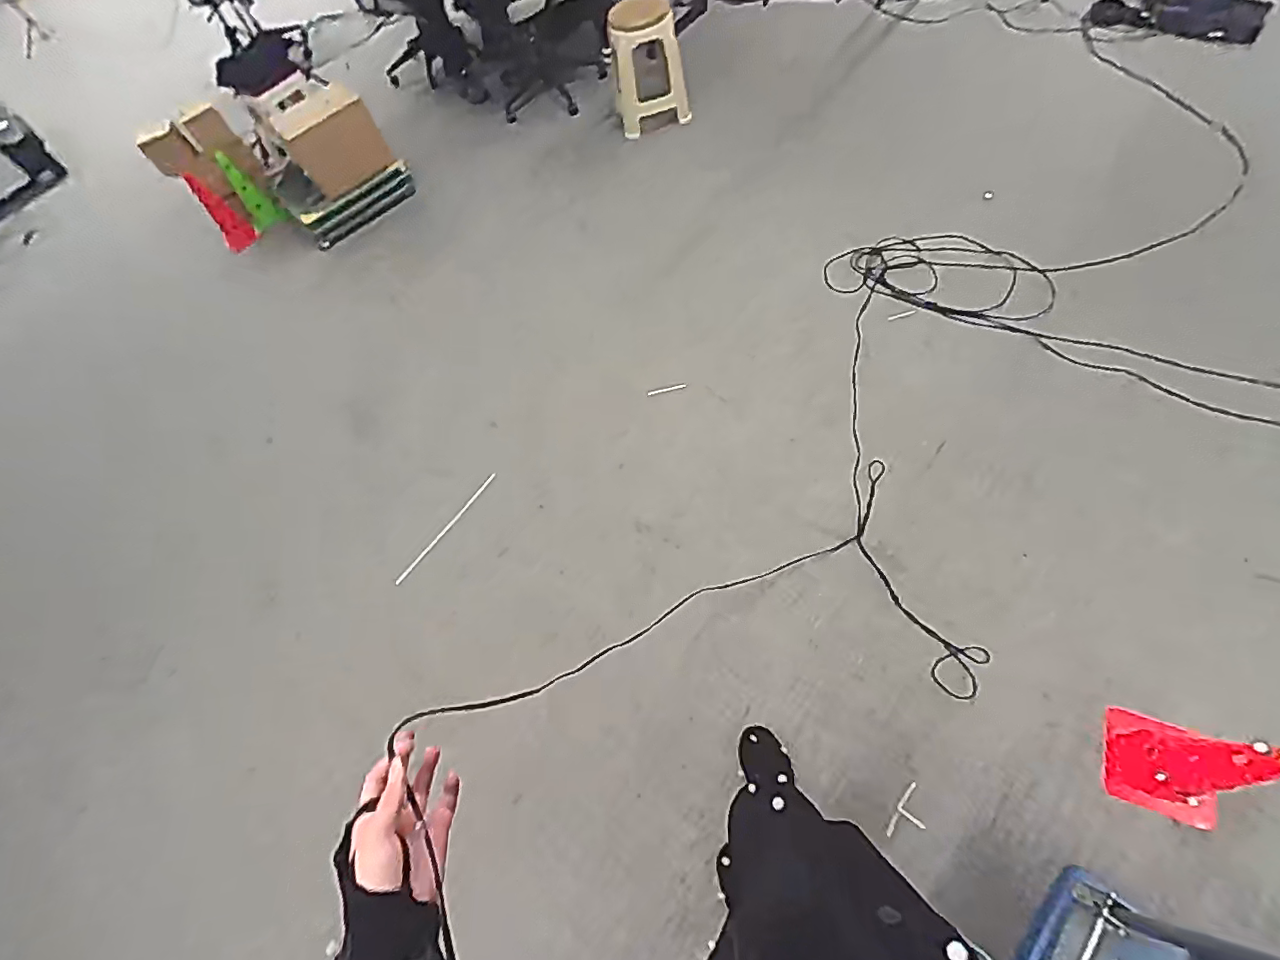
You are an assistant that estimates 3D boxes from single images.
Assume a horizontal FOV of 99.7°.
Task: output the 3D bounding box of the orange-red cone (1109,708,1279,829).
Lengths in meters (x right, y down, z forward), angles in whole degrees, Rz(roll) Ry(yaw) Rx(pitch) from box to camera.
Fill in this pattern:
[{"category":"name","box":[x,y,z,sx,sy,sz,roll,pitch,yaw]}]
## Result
[{"category":"orange-red cone","box":[1.141,0.555,1.062,0.198,0.360,0.199,17,65,19]}]
